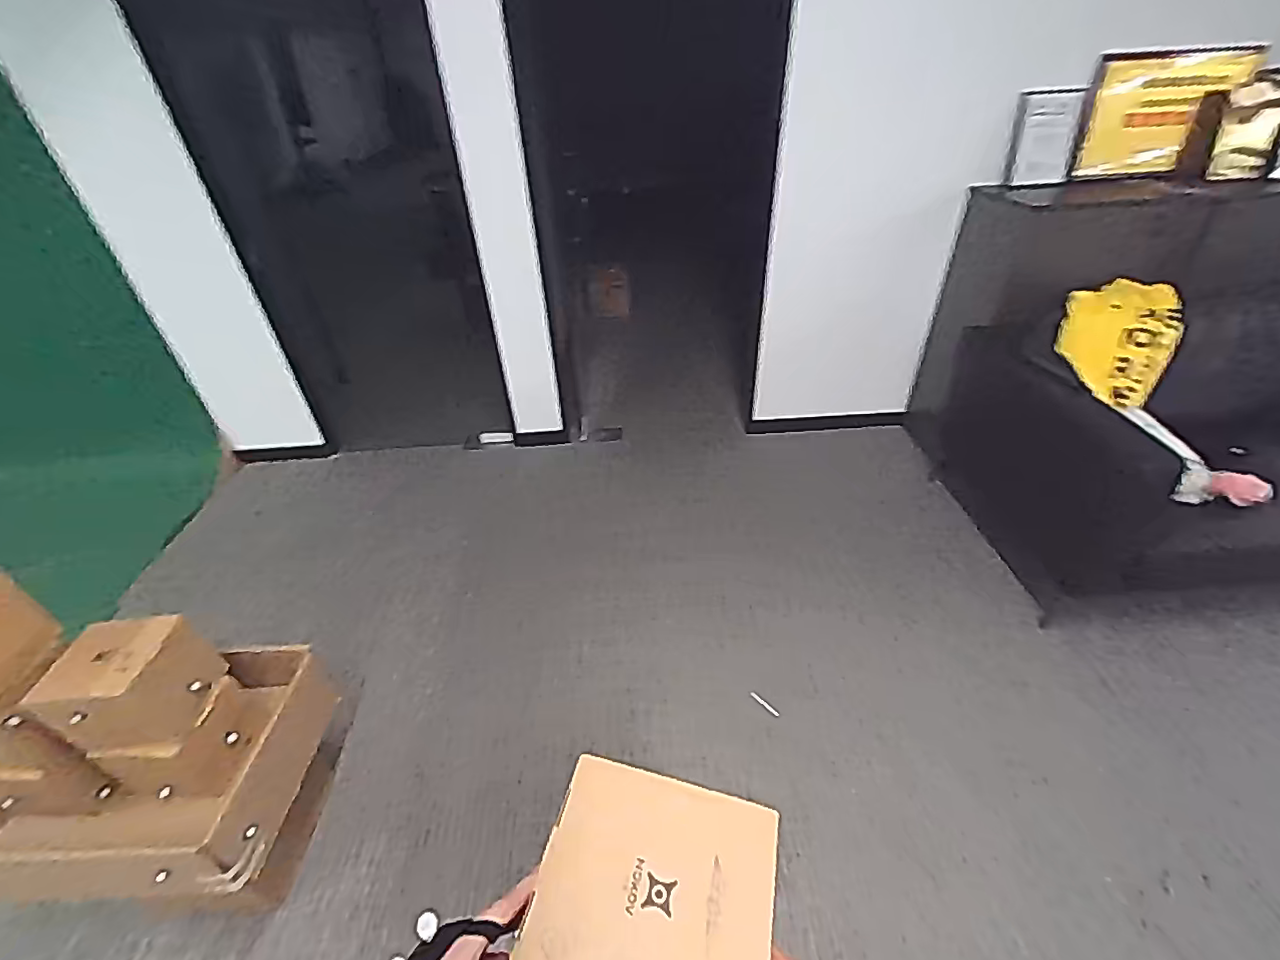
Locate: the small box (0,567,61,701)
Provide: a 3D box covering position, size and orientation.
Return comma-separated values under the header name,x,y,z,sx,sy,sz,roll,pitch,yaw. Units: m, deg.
name,x,y,z,sx,sy,sz,roll,pitch,yaw
small box,-1.137,0.266,0.893,0.168,0.176,0.179,-3,37,-1
